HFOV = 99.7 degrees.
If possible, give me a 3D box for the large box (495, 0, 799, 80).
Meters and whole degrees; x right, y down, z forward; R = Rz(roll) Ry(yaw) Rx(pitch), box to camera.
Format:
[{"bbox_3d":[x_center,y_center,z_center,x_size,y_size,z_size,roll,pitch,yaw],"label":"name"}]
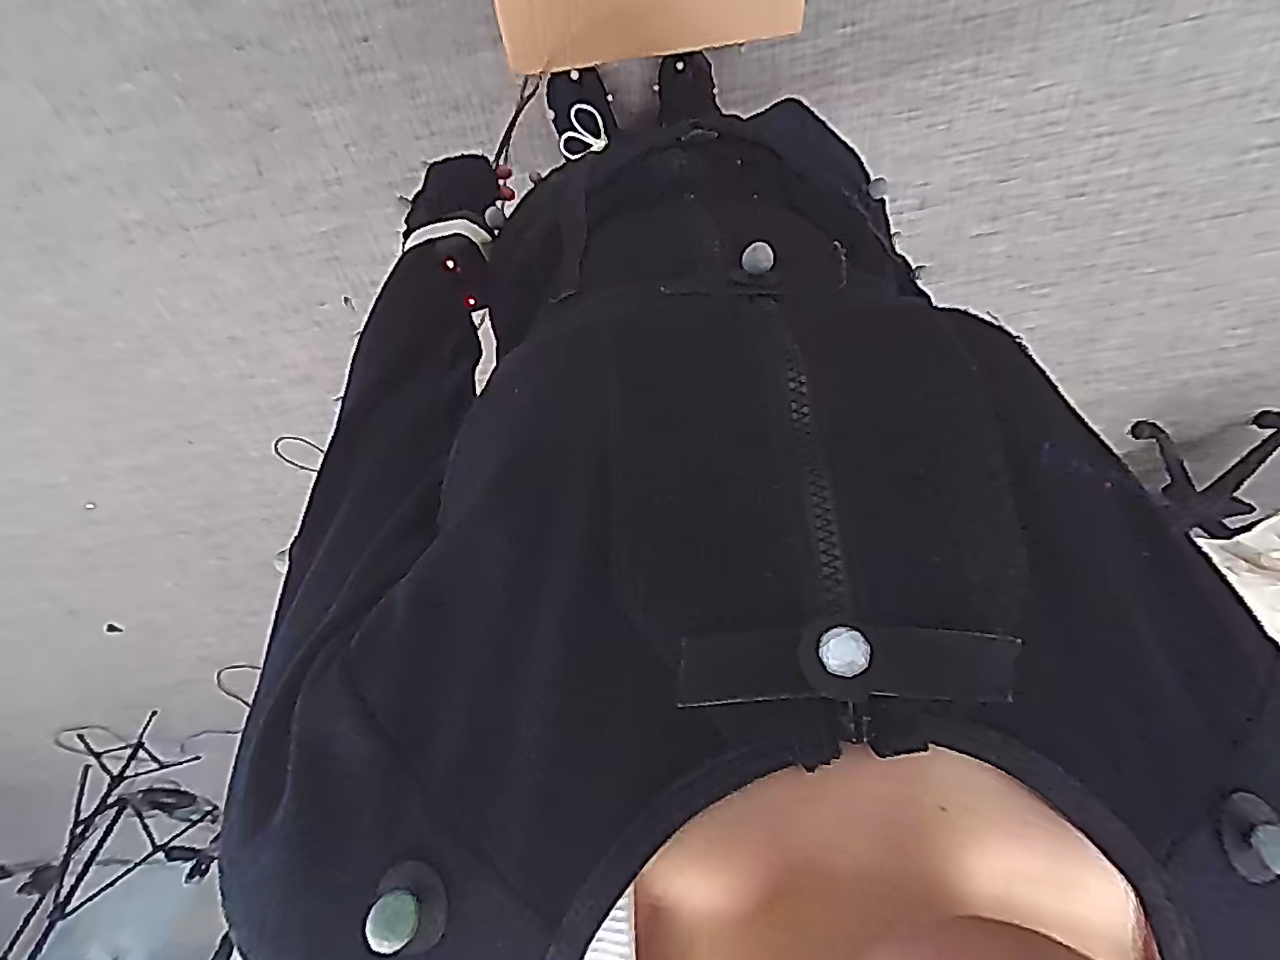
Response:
[{"bbox_3d":[-0.007,-0.796,0.756,0.408,0.320,0.320,-7,131,1],"label":"large box"}]
